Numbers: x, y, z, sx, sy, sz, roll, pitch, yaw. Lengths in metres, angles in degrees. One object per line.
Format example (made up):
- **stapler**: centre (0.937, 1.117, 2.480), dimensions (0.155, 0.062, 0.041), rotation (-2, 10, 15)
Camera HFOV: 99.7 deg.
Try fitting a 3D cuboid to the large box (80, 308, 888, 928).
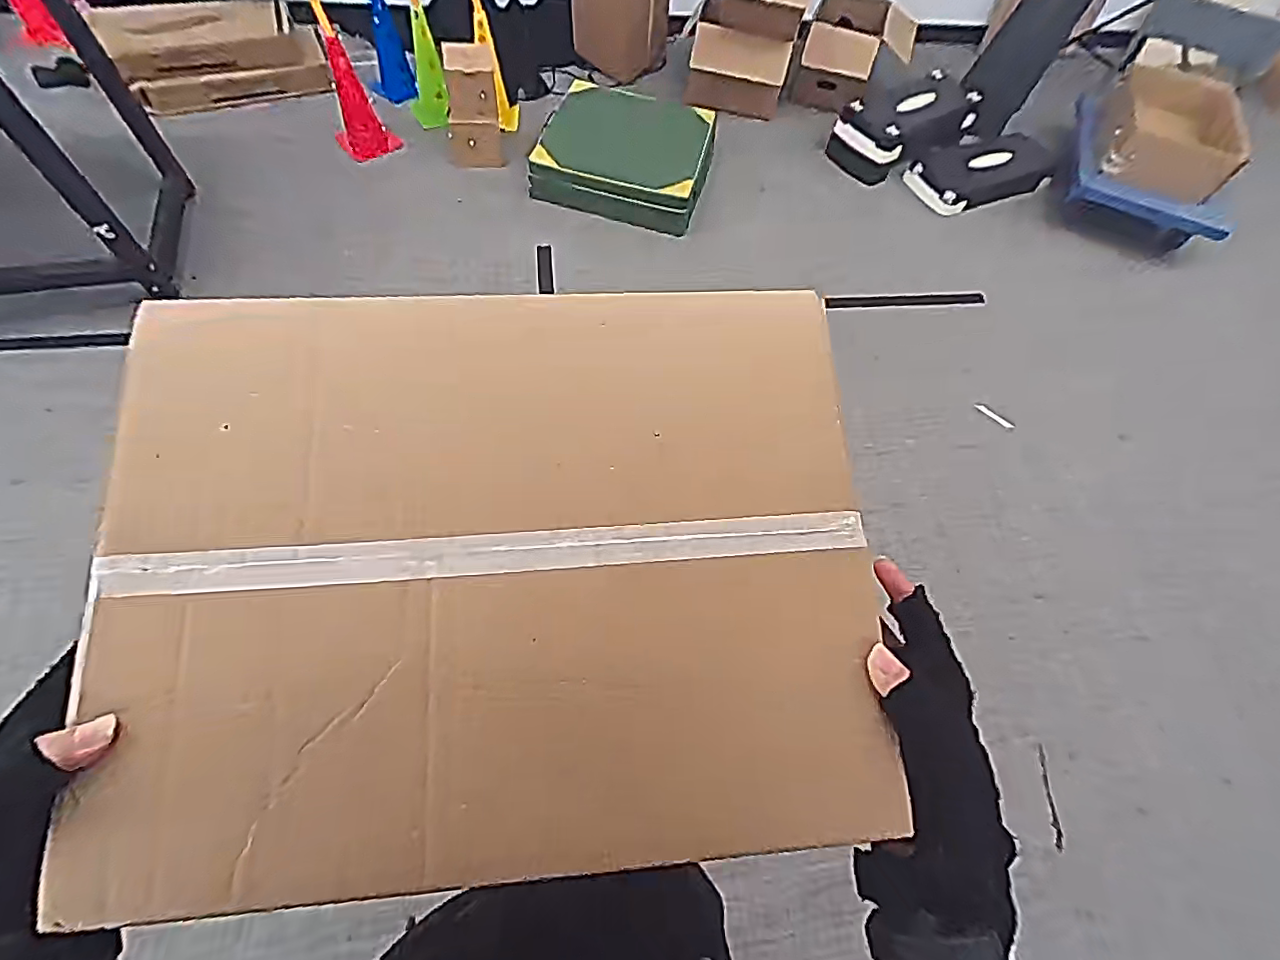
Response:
- **large box**: centre (-0.085, 0.082, 0.446), dimensions (0.408, 0.320, 0.320), rotation (-3, 75, -5)
